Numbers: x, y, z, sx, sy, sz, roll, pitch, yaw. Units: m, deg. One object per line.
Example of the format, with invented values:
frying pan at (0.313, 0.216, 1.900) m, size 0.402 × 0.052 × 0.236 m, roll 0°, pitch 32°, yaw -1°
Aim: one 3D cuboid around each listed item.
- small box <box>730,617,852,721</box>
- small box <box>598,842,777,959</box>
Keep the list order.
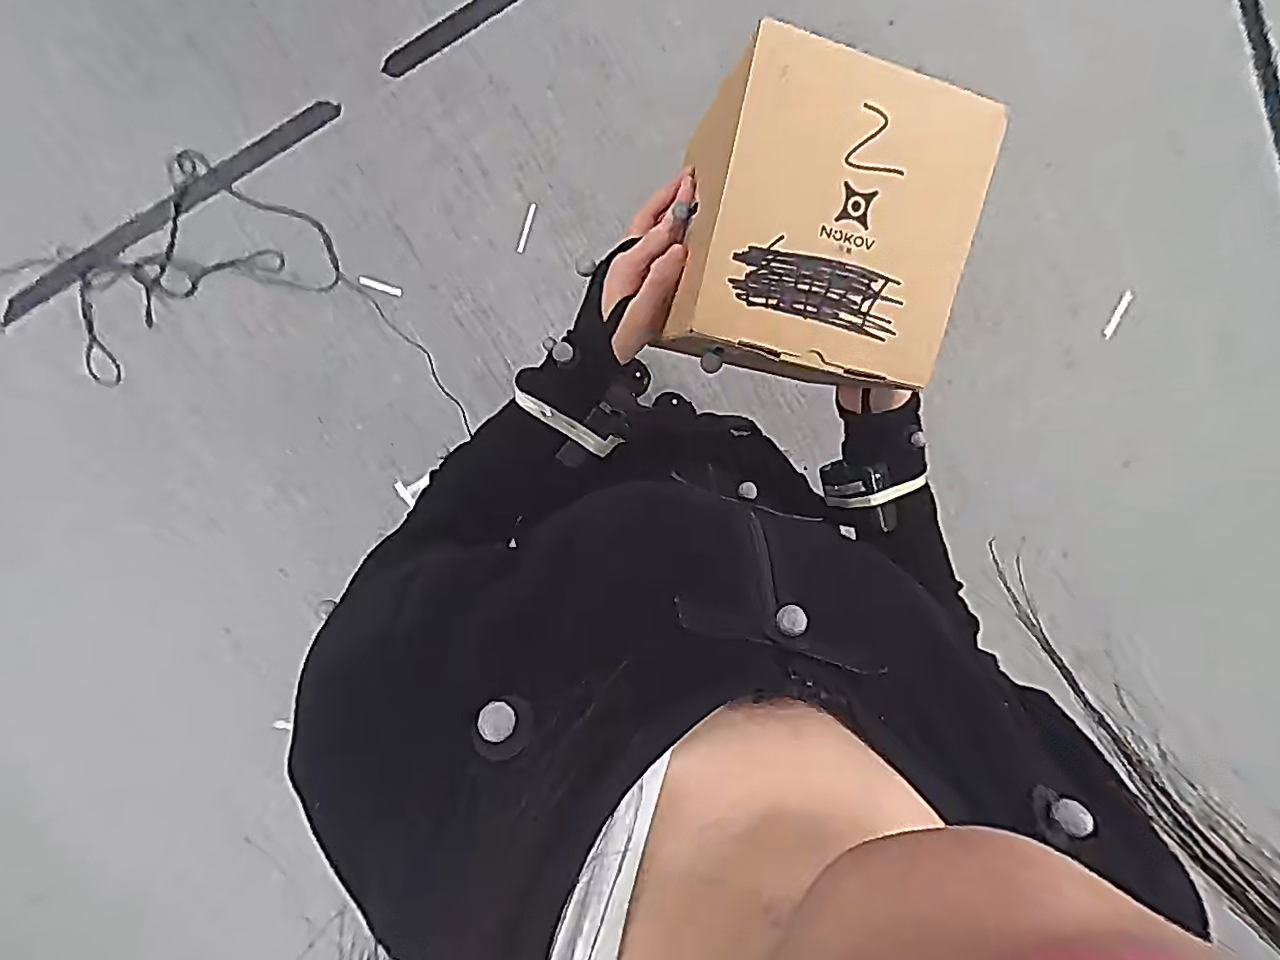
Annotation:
small box at (0.272, 0.366, 0.907) m, size 0.168 × 0.176 × 0.179 m, roll -31°, pitch 102°, yaw 4°
small box at (0.060, 0.549, 0.603) m, size 0.168 × 0.176 × 0.179 m, roll -27°, pitch 105°, yaw 2°
